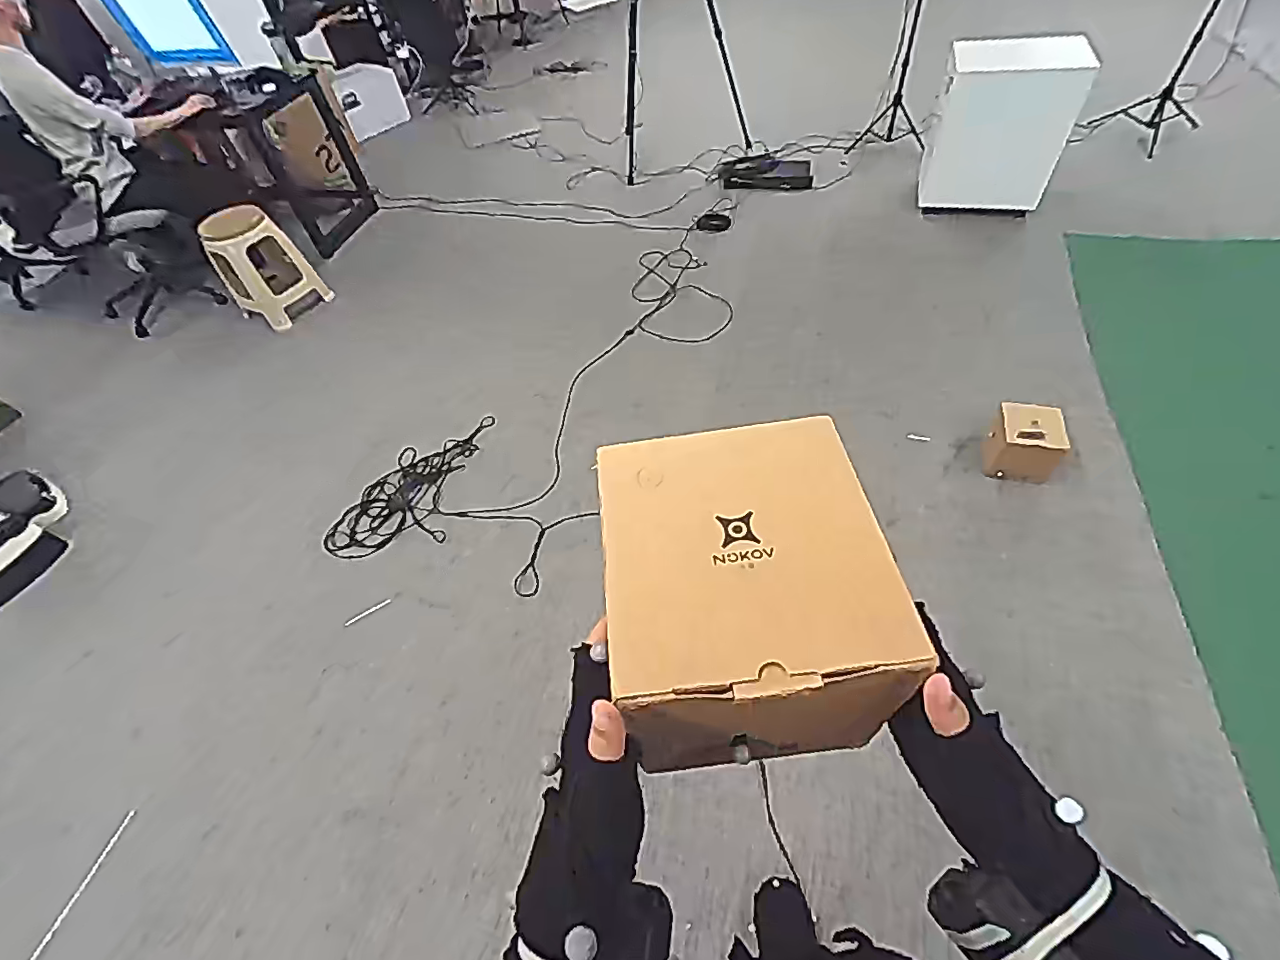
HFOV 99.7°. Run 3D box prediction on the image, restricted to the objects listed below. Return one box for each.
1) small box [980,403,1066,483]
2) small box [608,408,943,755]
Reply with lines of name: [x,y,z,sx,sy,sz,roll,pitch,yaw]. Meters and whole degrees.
small box: [1.188,-0.113,1.691,0.168,0.176,0.179,10,54,15]
small box: [0.071,0.076,0.386,0.168,0.176,0.179,-8,52,0]
